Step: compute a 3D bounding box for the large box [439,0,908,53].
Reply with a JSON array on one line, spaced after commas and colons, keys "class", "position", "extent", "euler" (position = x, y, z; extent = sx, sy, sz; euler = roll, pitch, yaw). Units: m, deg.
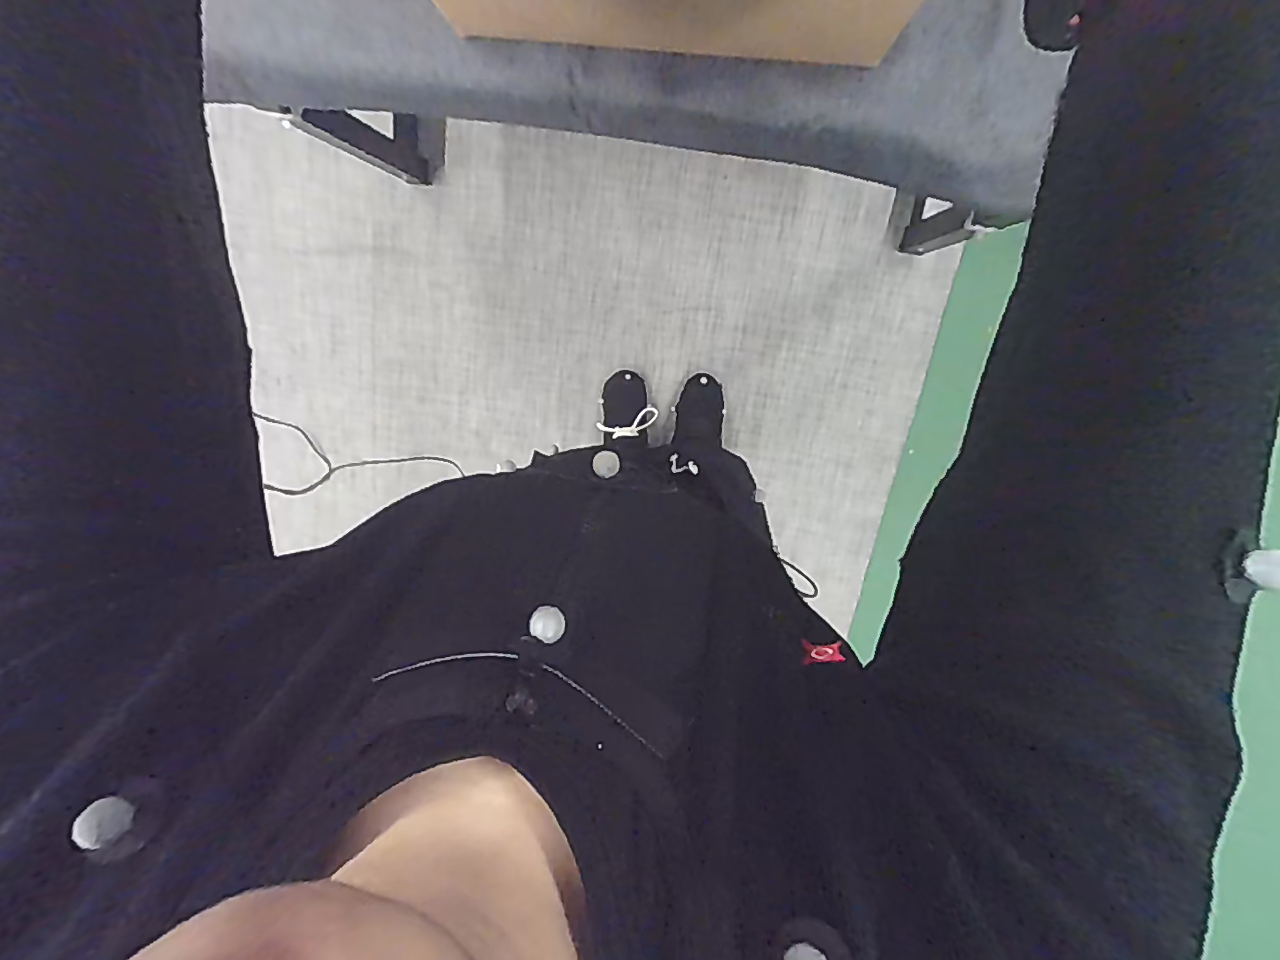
[{"class": "large box", "position": [0.022, -0.519, 0.332], "extent": [0.408, 0.320, 0.320], "euler": [6, 106, 2]}]
